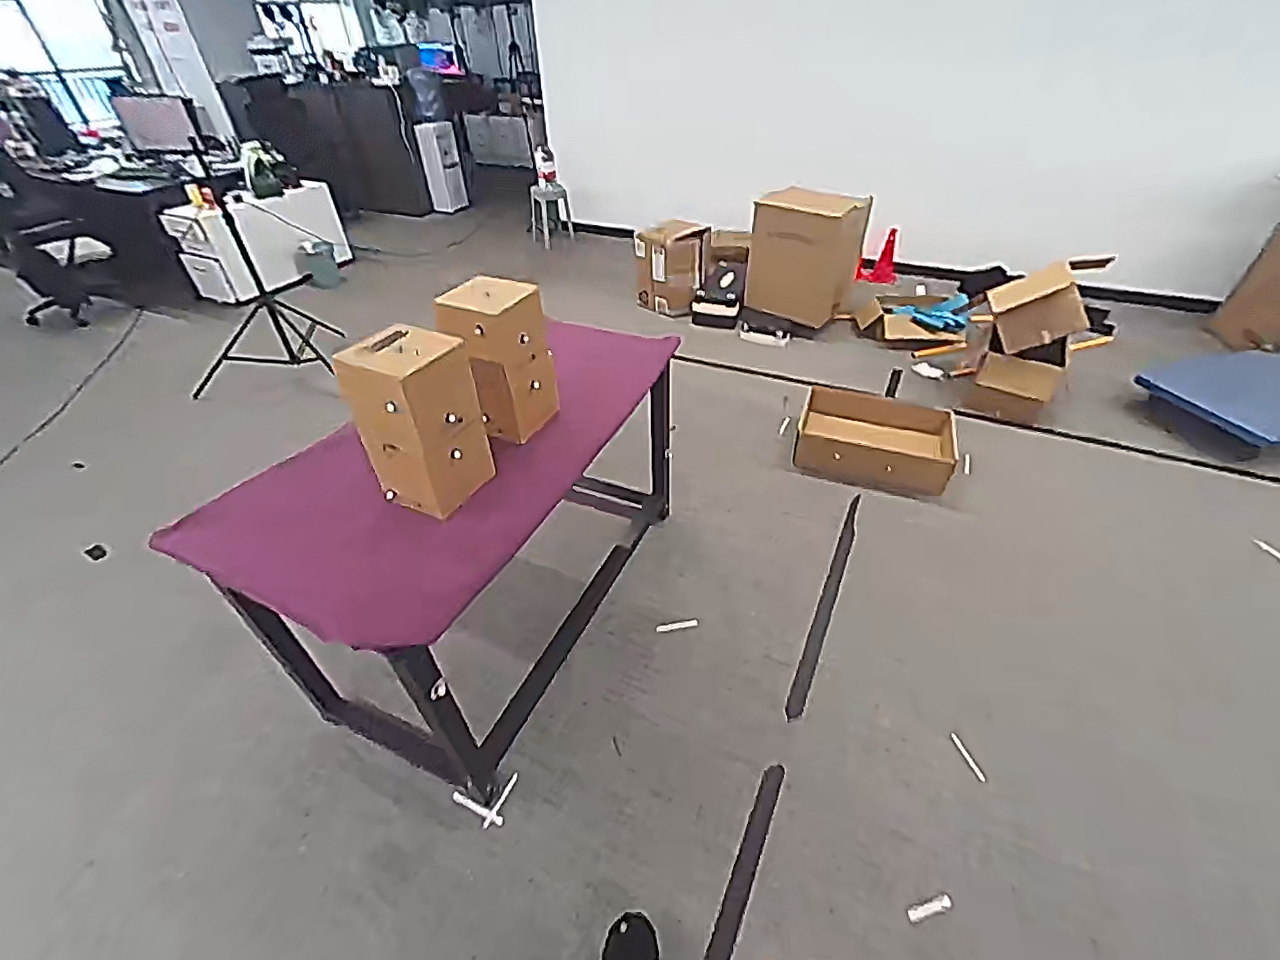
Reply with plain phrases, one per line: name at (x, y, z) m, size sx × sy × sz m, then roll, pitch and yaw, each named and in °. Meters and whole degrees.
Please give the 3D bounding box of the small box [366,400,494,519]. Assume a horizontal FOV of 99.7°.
small box at (-0.434, -0.043, 1.152) m, size 0.168 × 0.176 × 0.179 m, roll 17°, pitch 42°, yaw 20°

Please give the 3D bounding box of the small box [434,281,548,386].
small box at (-0.331, -0.335, 1.244) m, size 0.179 × 0.176 × 0.168 m, roll 17°, pitch 43°, yaw 21°

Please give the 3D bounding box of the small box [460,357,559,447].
small box at (-0.317, -0.211, 1.352) m, size 0.168 × 0.176 × 0.179 m, roll 17°, pitch 44°, yaw 21°
